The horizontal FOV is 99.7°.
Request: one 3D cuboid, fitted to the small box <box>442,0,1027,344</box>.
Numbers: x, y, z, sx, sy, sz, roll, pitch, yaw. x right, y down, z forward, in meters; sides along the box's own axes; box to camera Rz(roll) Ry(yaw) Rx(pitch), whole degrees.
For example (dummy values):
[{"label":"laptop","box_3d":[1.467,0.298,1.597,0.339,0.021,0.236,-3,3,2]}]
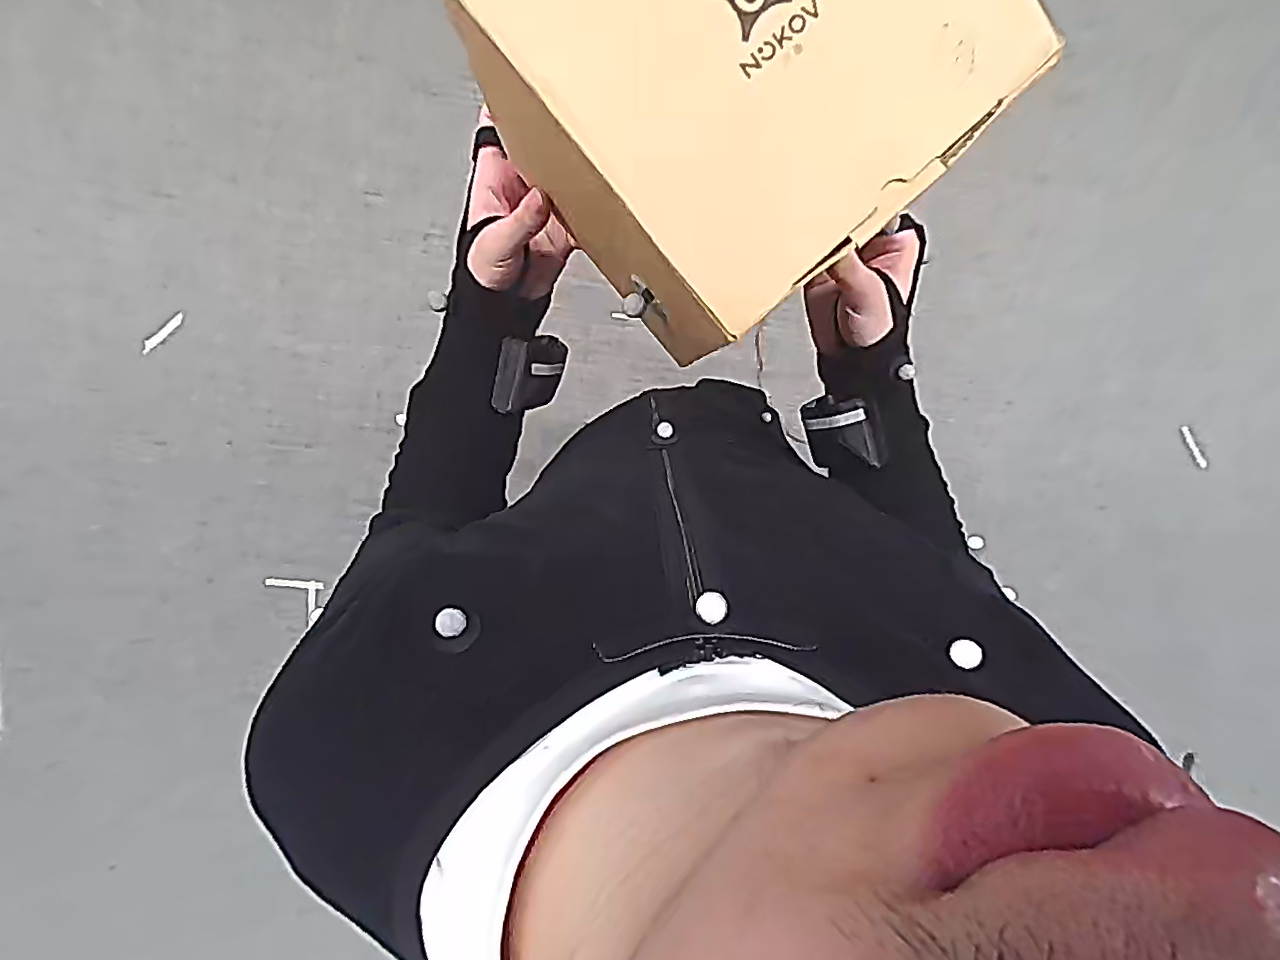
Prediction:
[{"label":"small box","box_3d":[0.035,-0.189,0.286,0.168,0.176,0.179,-42,98,3]}]
